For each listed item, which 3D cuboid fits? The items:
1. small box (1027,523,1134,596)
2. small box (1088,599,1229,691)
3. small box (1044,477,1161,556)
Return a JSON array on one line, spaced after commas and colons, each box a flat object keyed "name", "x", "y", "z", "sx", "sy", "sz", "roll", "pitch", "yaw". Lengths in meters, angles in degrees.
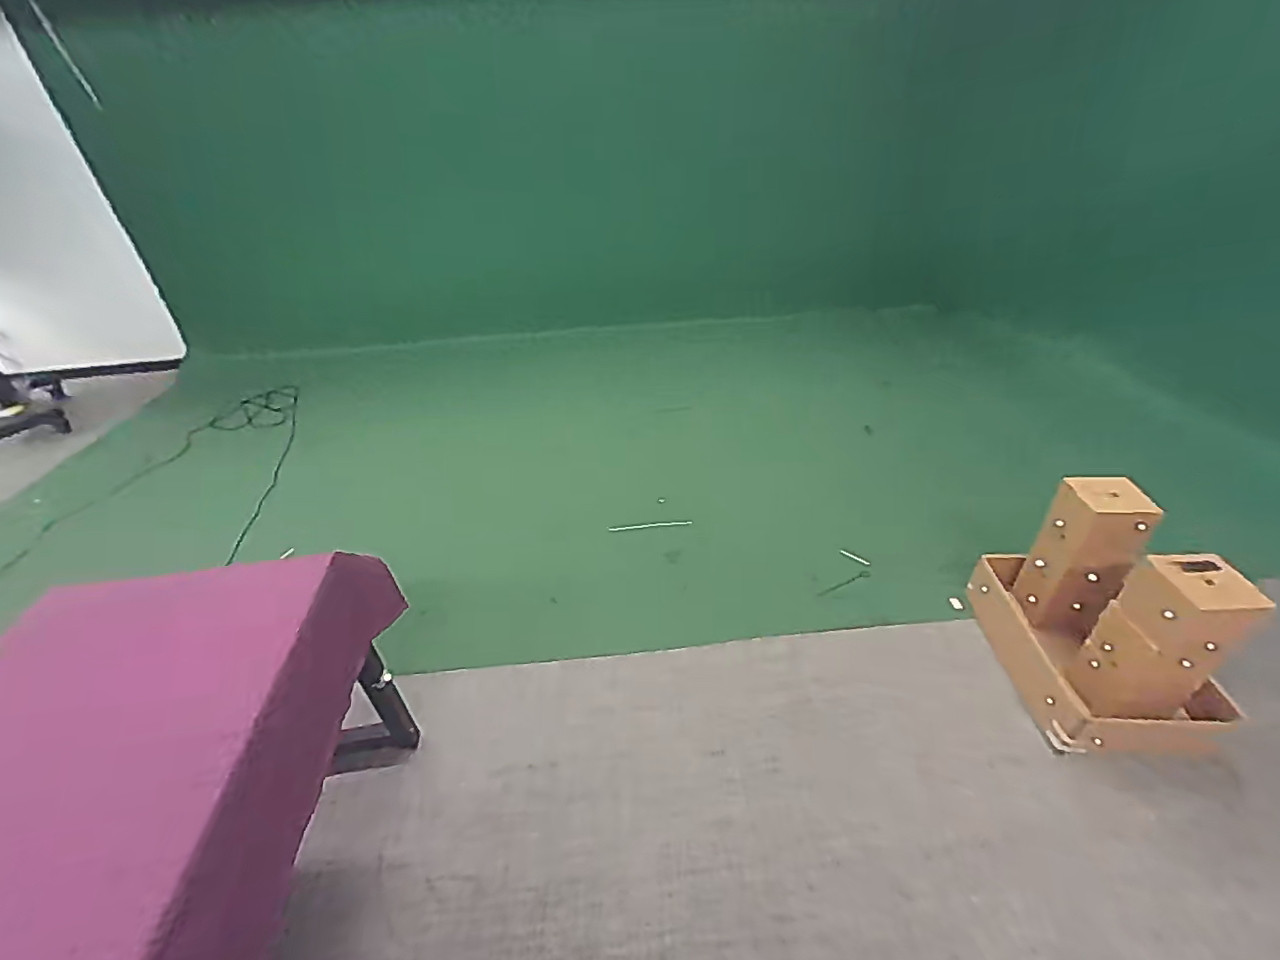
[{"name": "small box", "x": 1.354, "y": 0.243, "z": 1.677, "sx": 0.179, "sy": 0.176, "sz": 0.168, "roll": 0, "pitch": 37, "yaw": 8}, {"name": "small box", "x": 1.338, "y": 0.432, "z": 1.413, "sx": 0.179, "sy": 0.176, "sz": 0.168, "roll": -2, "pitch": 35, "yaw": 5}, {"name": "small box", "x": 1.341, "y": 0.108, "z": 1.583, "sx": 0.179, "sy": 0.176, "sz": 0.168, "roll": 0, "pitch": 36, "yaw": 6}]
